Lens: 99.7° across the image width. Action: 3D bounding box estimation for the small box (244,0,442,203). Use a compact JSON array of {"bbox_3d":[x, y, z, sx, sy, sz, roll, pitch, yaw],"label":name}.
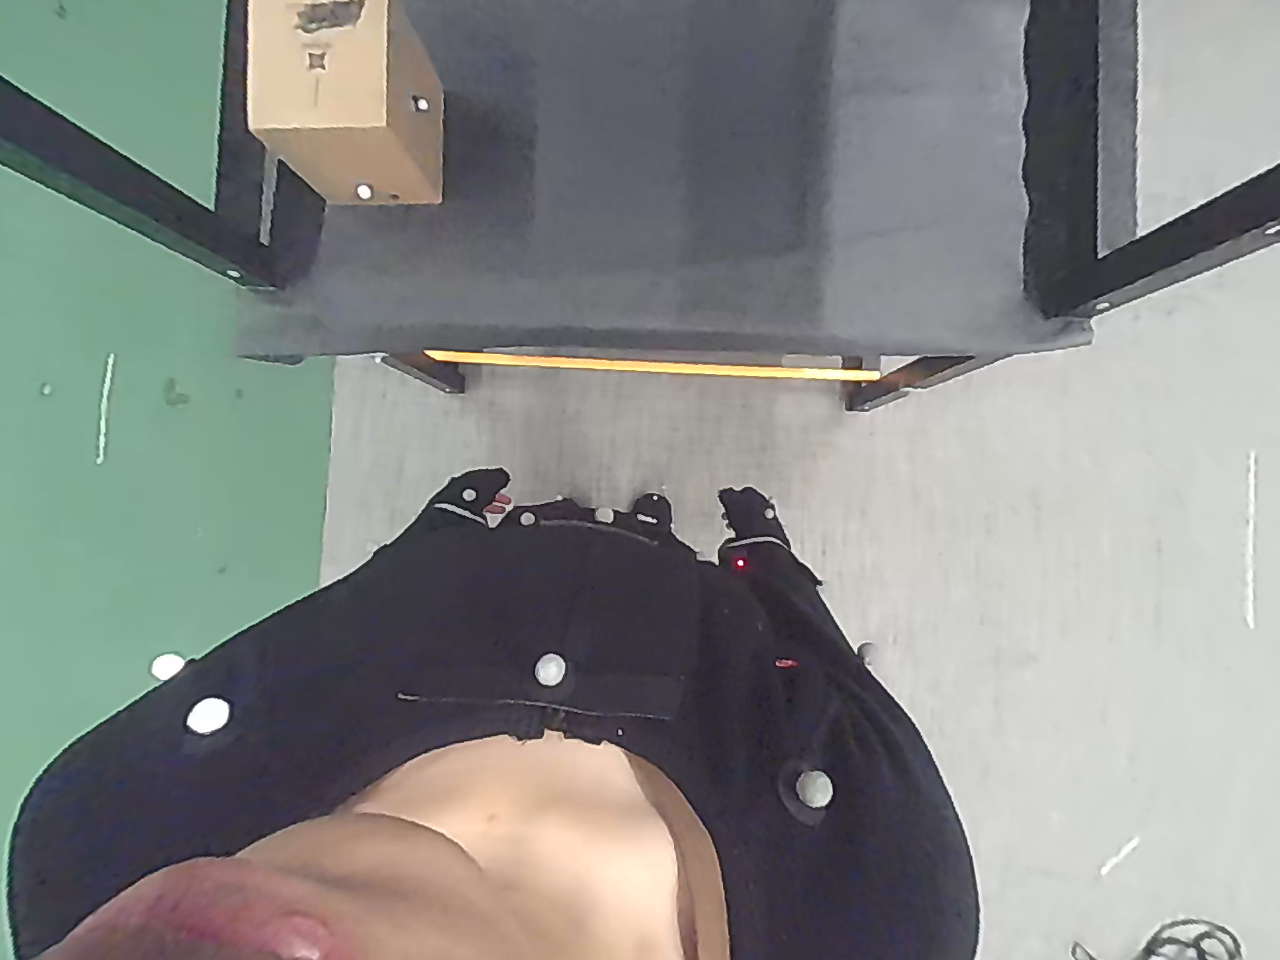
[{"bbox_3d":[-0.370,-0.490,0.701,0.168,0.176,0.179,0,89,1],"label":"small box"}]
